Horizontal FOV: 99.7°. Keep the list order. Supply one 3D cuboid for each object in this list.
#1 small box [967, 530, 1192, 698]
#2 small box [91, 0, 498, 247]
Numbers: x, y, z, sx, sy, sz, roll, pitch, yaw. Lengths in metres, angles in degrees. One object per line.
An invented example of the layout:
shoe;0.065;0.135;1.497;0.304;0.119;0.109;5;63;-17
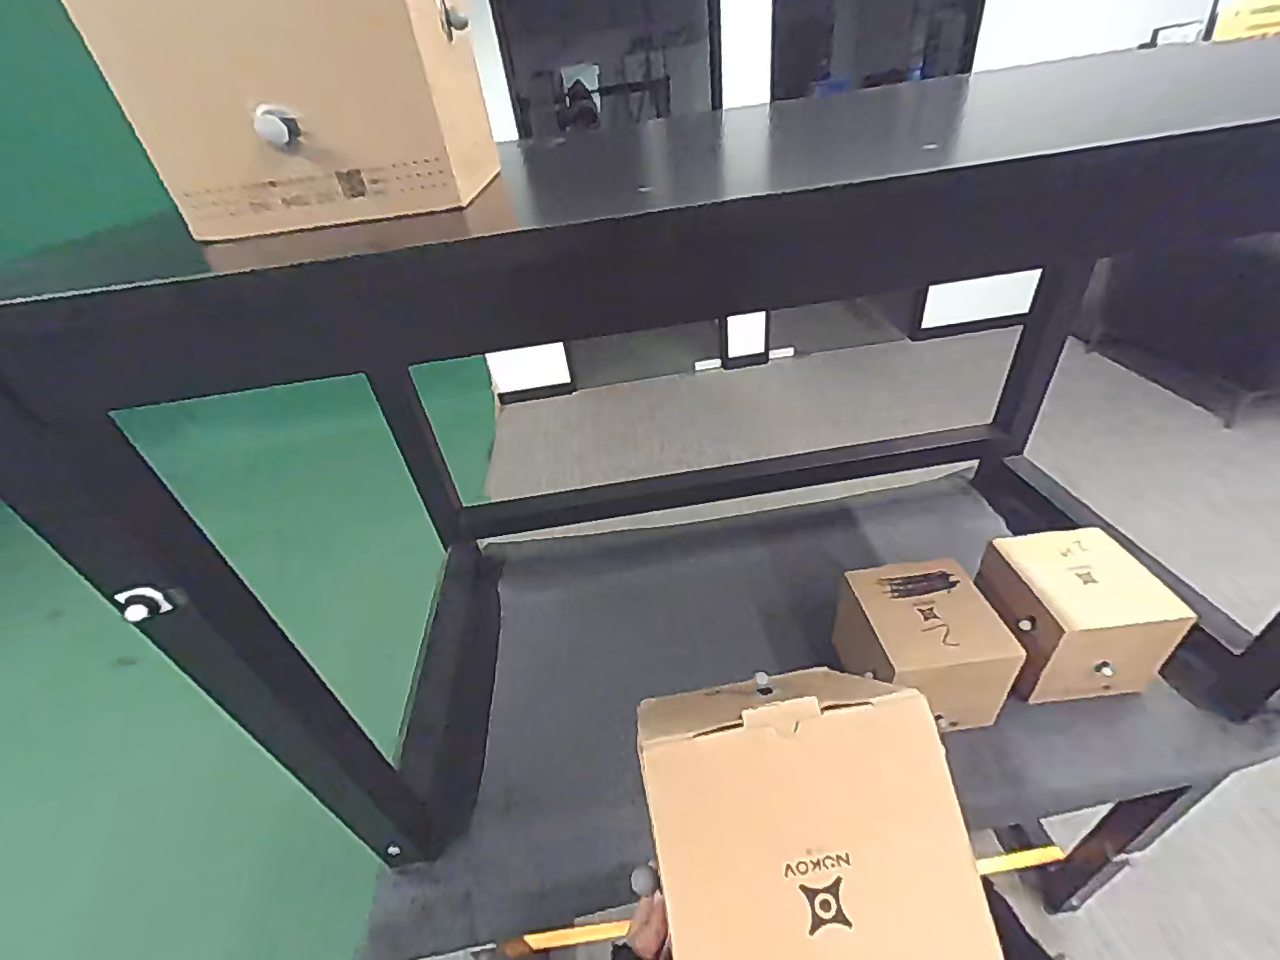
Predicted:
small box;0.622;0.201;0.796;0.168;0.176;0.179;-7;35;2
small box;-0.199;-0.263;0.351;0.168;0.176;0.179;-8;37;0
